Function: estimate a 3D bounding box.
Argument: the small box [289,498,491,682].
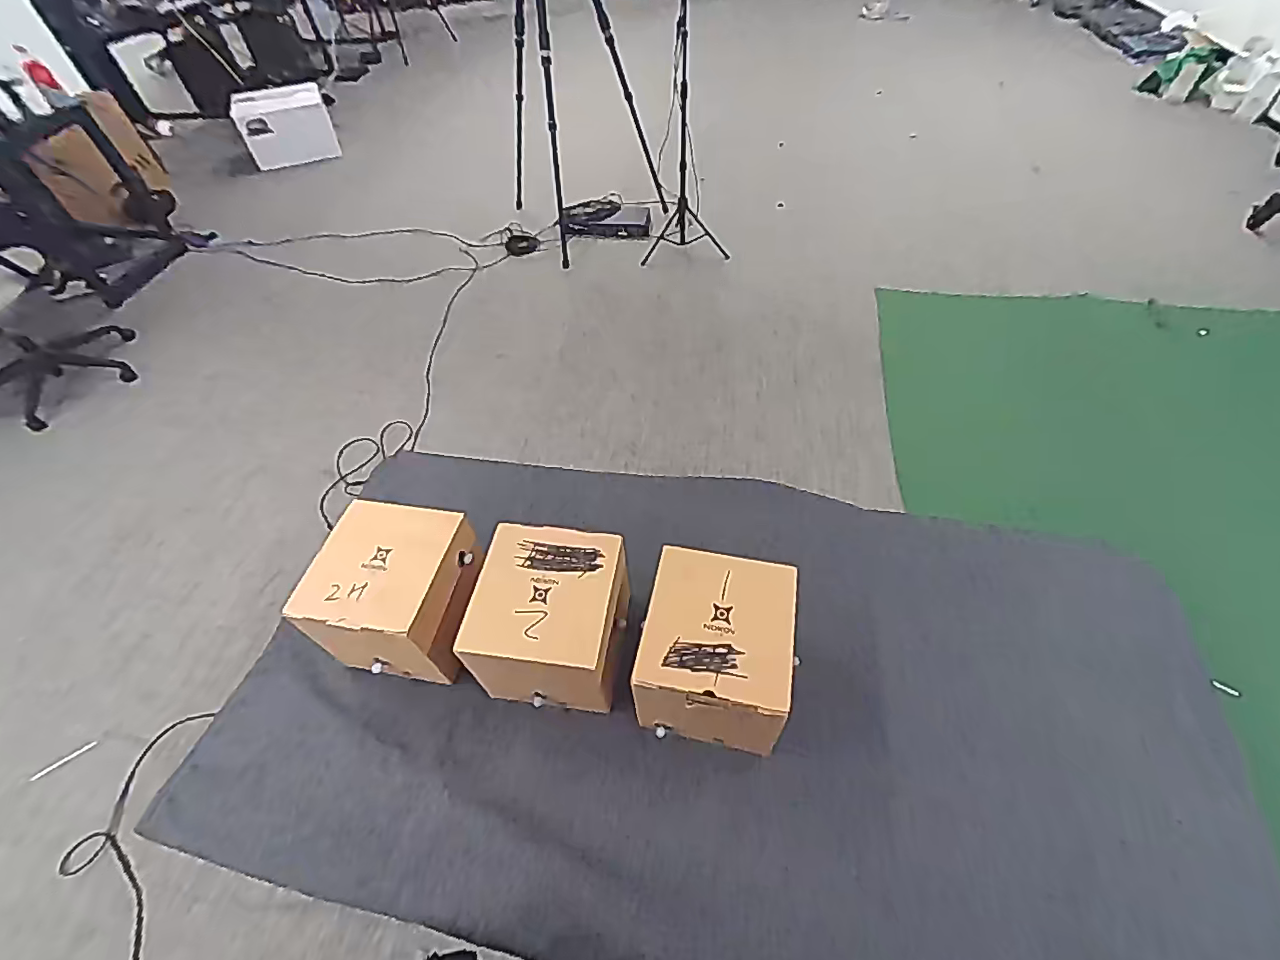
[{"bbox_3d":[-0.321,0.152,0.742,0.168,0.176,0.179,7,51,9],"label":"small box"}]
